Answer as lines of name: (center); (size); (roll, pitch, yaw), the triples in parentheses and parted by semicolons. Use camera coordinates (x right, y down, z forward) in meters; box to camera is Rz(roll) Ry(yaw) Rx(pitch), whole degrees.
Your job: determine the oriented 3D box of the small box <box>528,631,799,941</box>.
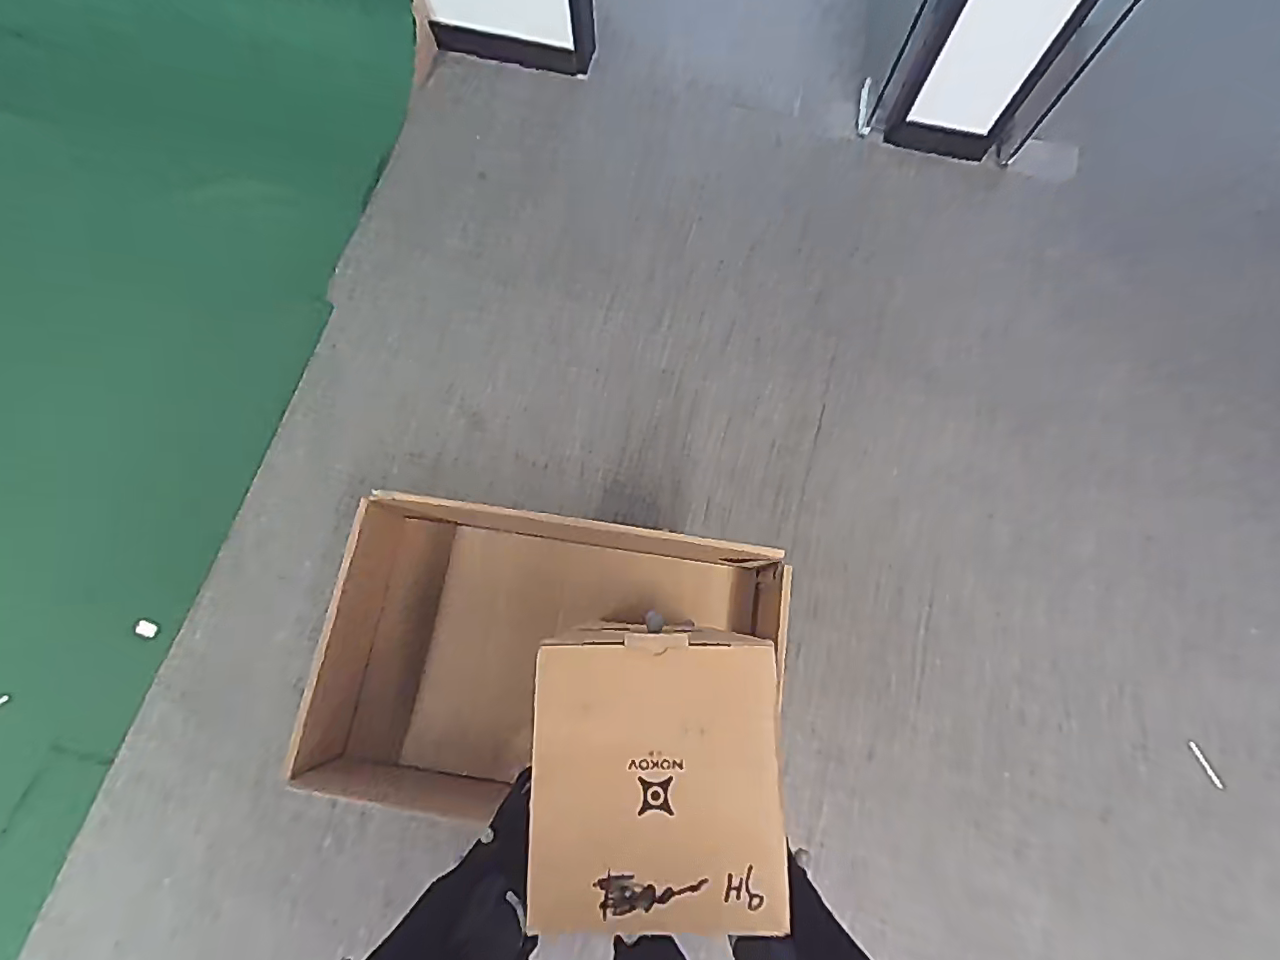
small box: (0.014, 0.210, 0.420); (0.168, 0.176, 0.179); (1, 76, 0)
